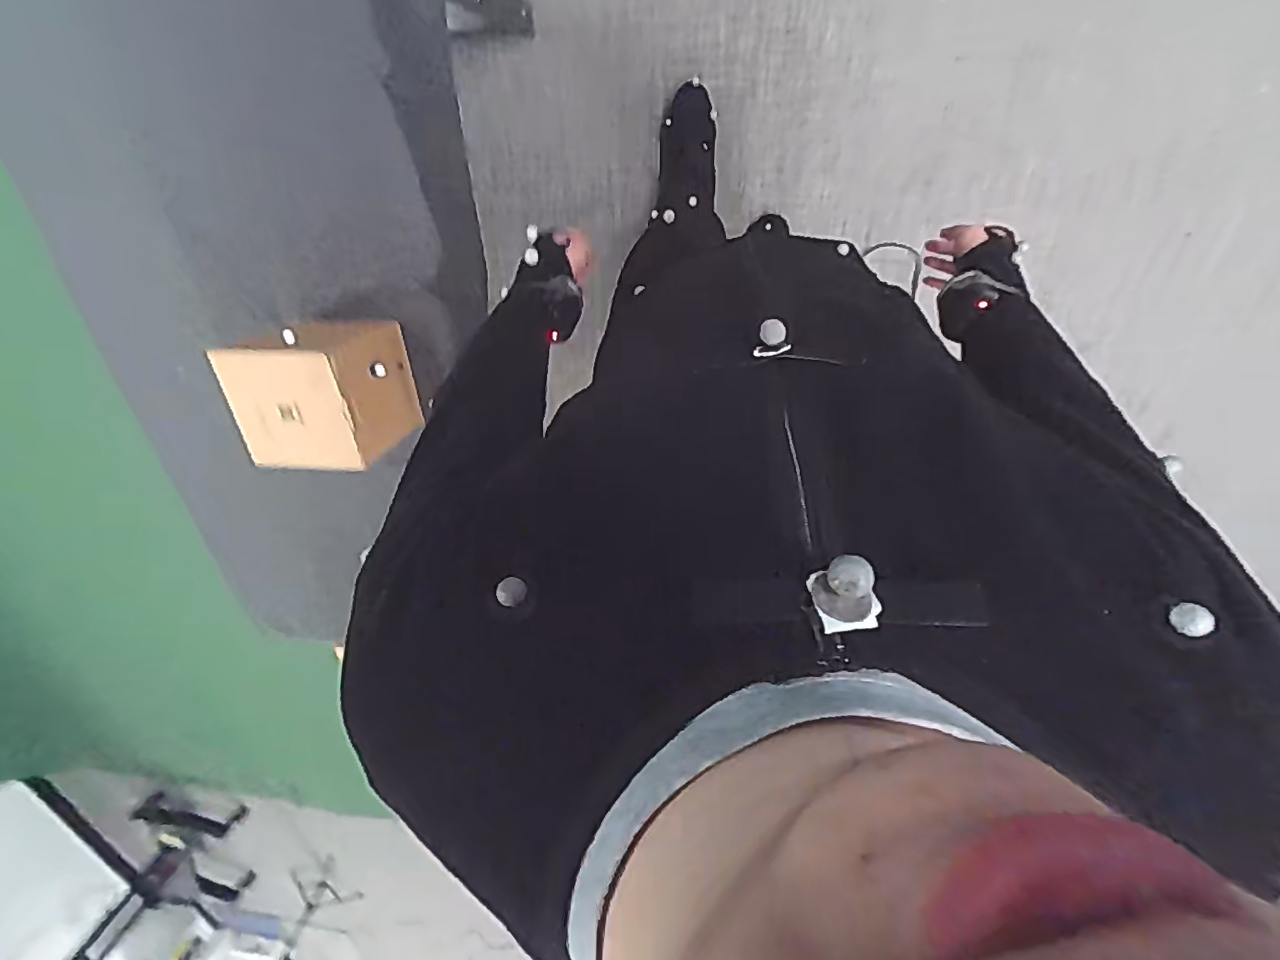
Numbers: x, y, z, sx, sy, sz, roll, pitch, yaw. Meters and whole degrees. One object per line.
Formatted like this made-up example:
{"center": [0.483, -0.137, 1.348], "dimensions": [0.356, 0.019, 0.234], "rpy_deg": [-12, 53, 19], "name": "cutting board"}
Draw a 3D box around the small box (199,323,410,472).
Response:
{"center": [-0.454, -0.124, 0.771], "dimensions": [0.179, 0.176, 0.168], "rpy_deg": [3, 119, 10], "name": "small box"}
